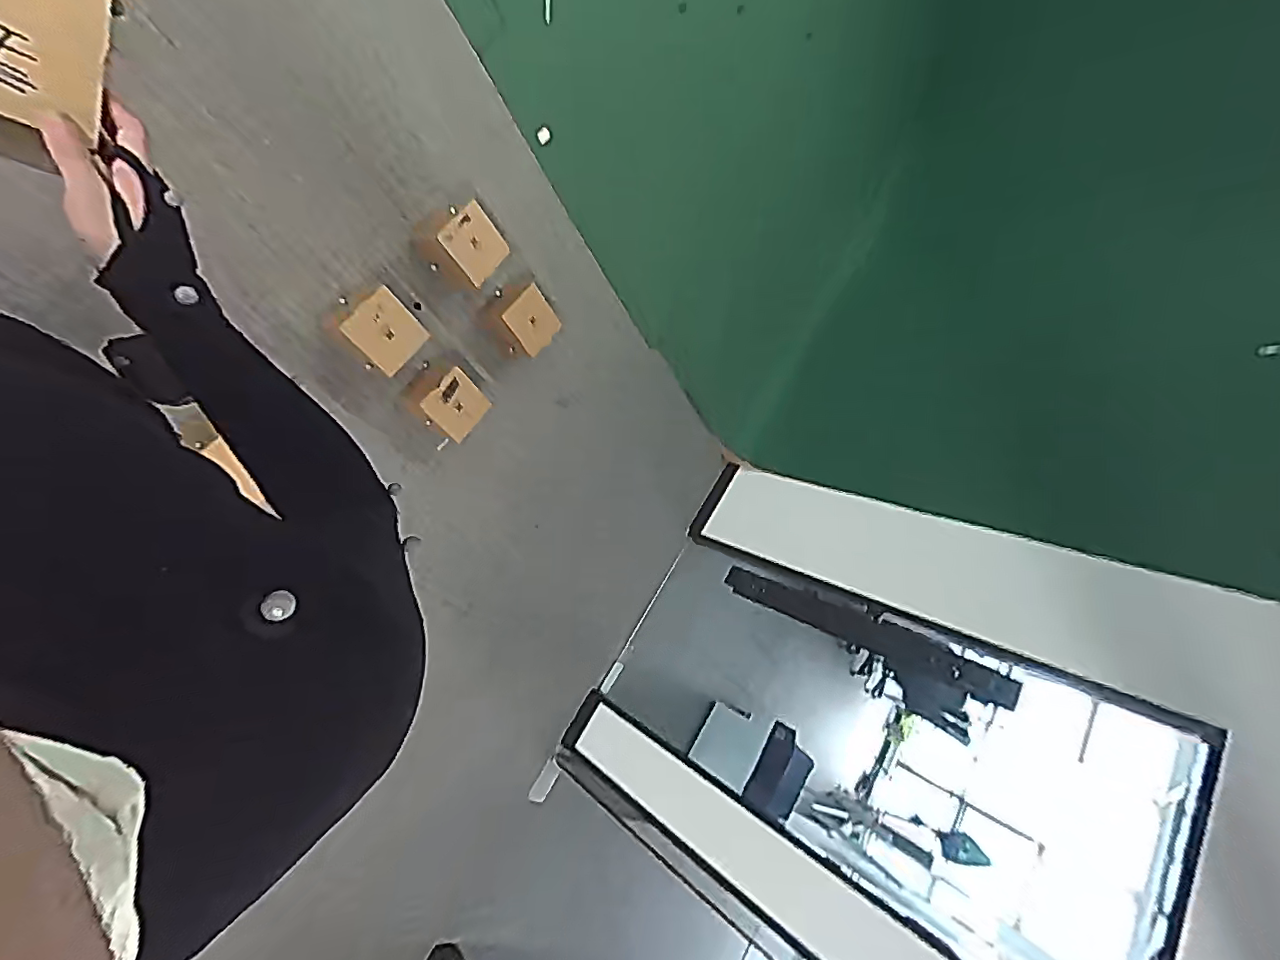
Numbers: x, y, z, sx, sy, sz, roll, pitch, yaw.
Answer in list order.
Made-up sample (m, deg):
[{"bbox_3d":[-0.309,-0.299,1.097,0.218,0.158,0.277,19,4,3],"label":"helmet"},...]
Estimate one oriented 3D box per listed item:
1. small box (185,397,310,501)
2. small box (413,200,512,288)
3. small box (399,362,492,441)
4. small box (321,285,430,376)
[{"bbox_3d":[-0.963,-0.082,1.323,0.179,0.176,0.168,-53,136,-18],"label":"small box"},{"bbox_3d":[-0.518,-0.686,1.576,0.168,0.176,0.179,-56,138,-18],"label":"small box"},{"bbox_3d":[-0.598,-0.246,1.655,0.168,0.176,0.179,-54,137,-18],"label":"small box"},{"bbox_3d":[-0.717,-0.410,1.465,0.168,0.176,0.179,-54,136,-18],"label":"small box"}]
